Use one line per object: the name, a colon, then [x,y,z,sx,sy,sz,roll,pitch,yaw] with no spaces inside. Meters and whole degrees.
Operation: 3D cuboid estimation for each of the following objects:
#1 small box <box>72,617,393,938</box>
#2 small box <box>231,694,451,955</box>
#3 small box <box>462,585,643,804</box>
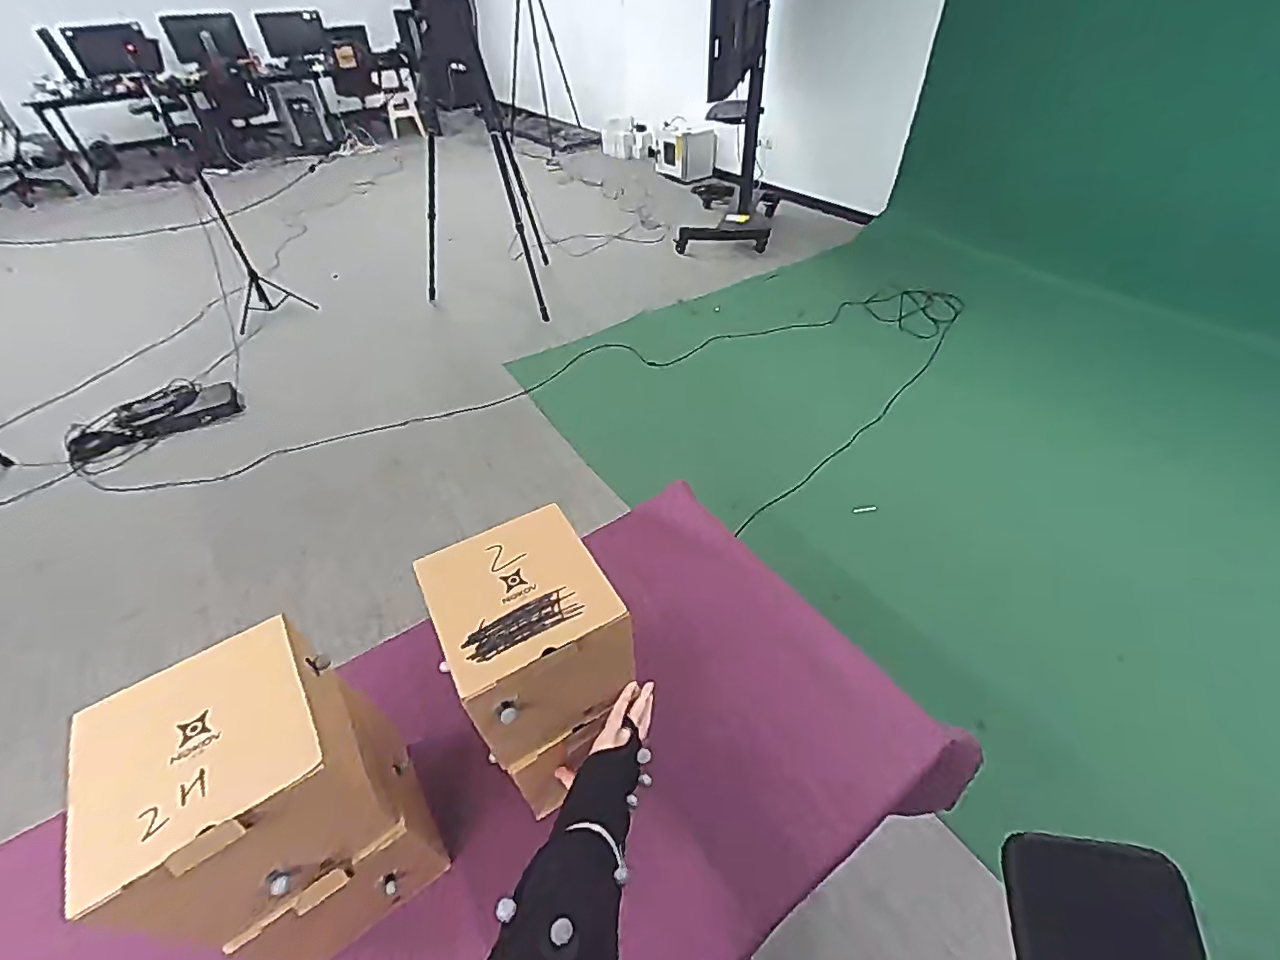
small box: [-0.358,0.270,0.499,0.168,0.176,0.179,-28,49,-24]
small box: [-0.338,0.389,0.612,0.168,0.176,0.179,-28,49,-24]
small box: [-0.110,0.280,0.710,0.168,0.176,0.179,-26,49,-21]
